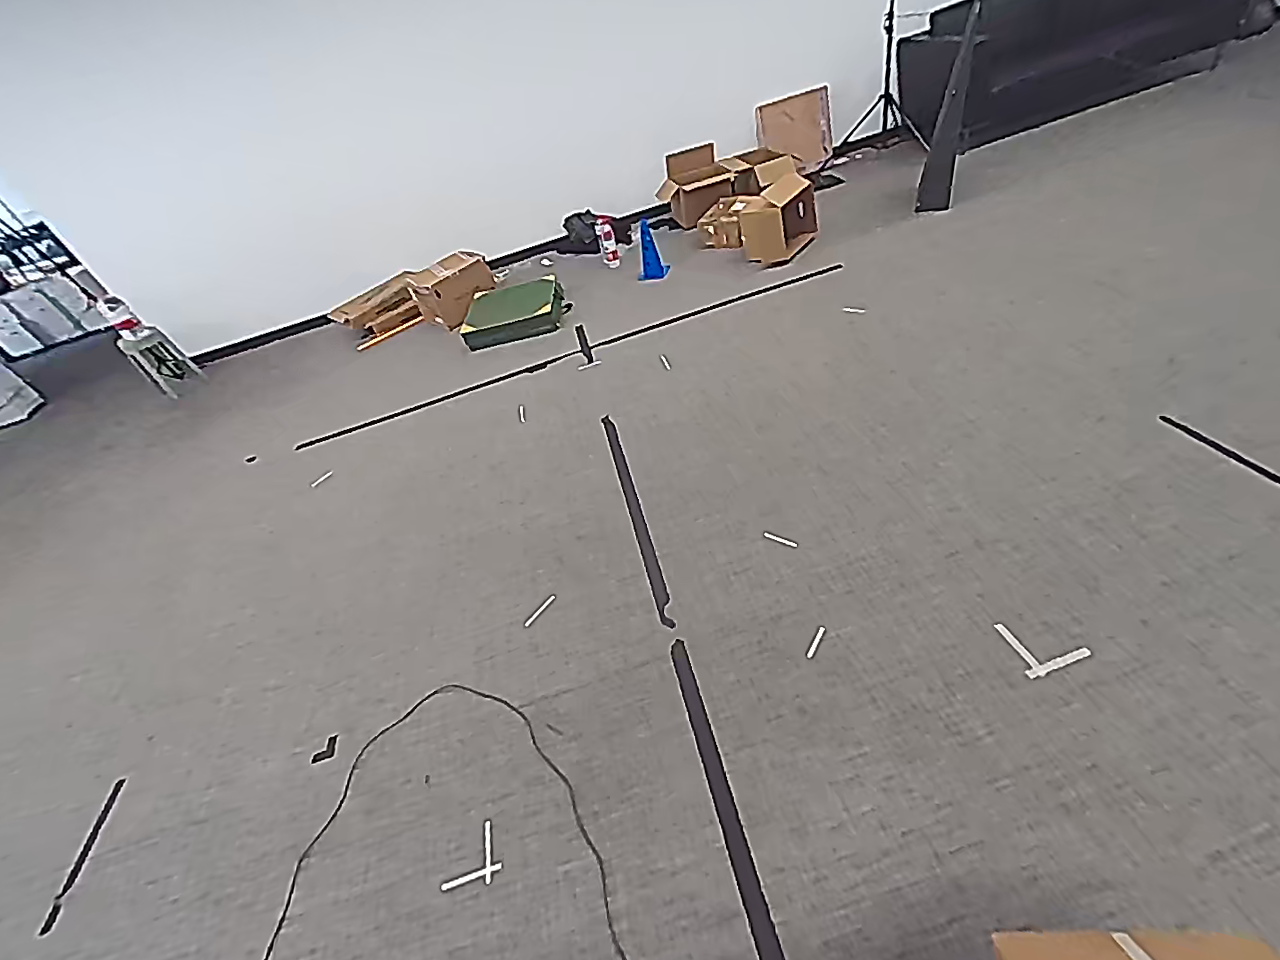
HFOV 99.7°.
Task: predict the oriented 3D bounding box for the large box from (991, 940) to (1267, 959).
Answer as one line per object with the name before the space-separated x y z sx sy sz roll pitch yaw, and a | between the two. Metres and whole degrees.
large box | 0.600 0.733 0.495 0.320 0.408 0.320 -10 82 11
